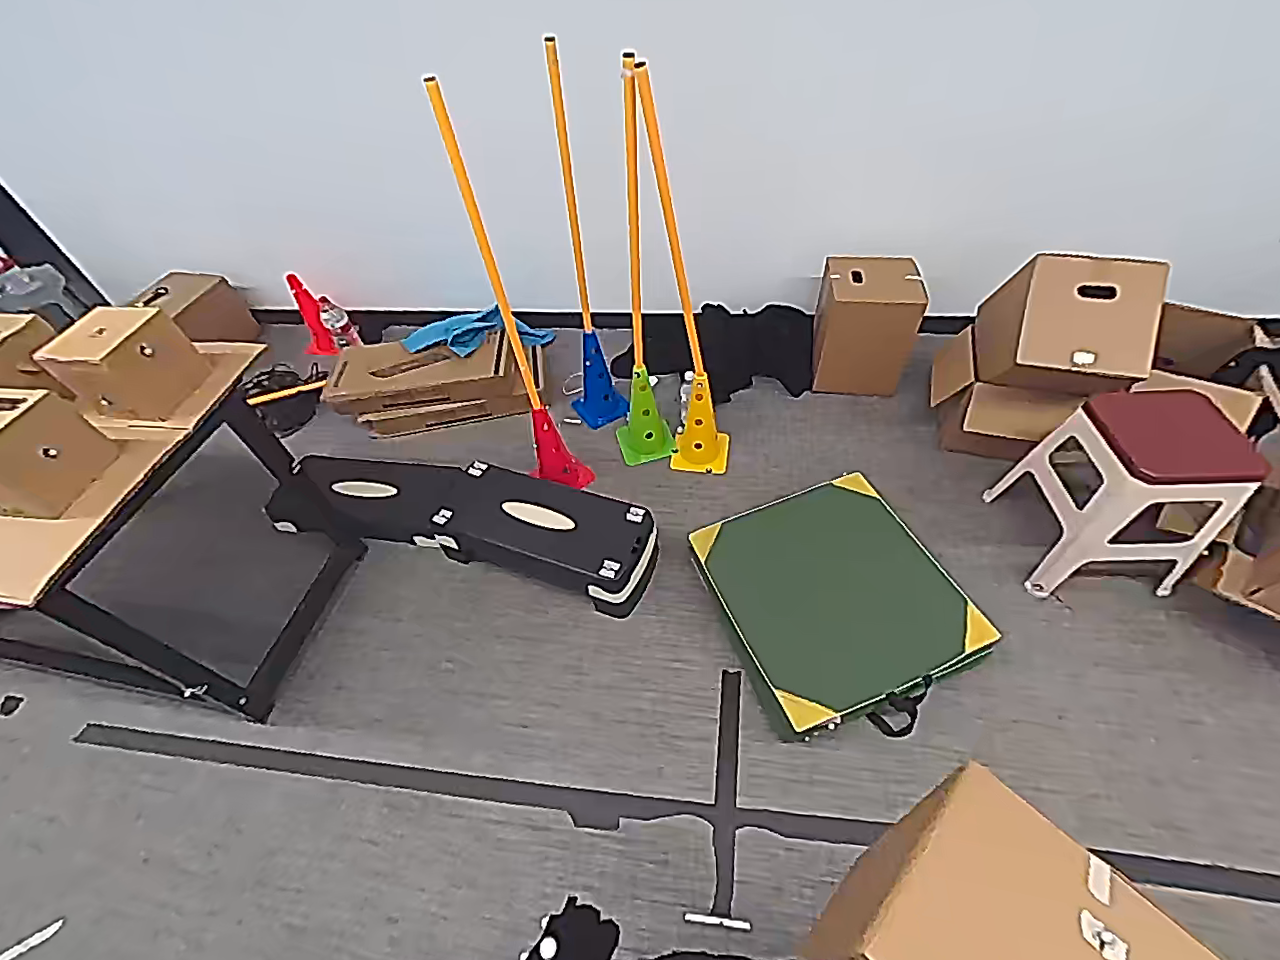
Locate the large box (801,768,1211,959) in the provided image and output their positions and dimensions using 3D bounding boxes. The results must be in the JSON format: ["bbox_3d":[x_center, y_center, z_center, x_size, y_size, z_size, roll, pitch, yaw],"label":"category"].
[{"bbox_3d":[0.420,0.670,0.694,0.320,0.408,0.320,-24,48,-33],"label":"large box"}]
